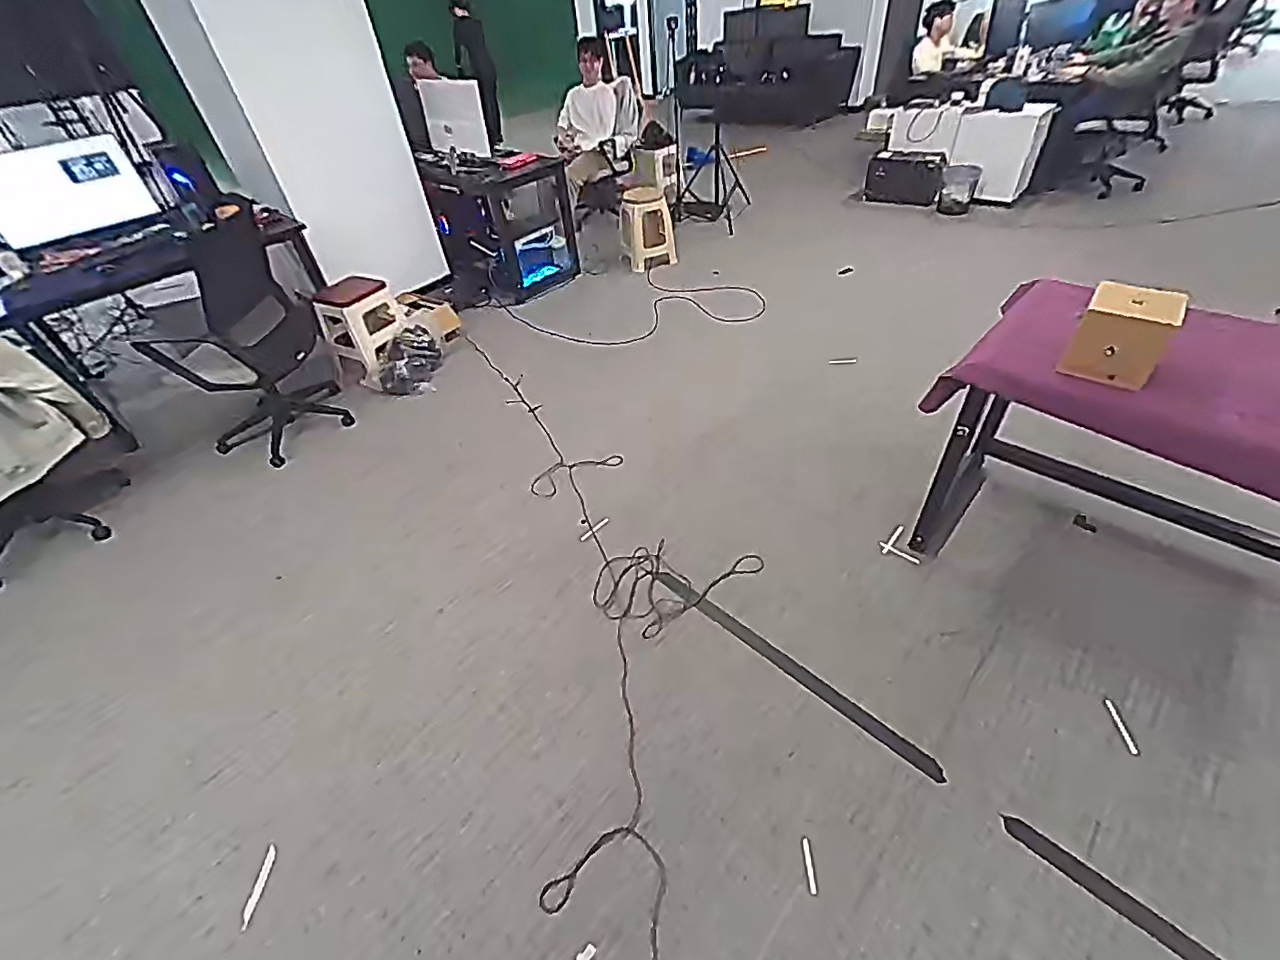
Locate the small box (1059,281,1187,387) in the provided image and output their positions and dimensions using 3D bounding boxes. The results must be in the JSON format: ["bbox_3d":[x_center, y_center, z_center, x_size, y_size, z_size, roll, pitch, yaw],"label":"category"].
[{"bbox_3d":[1.122,-0.341,1.267,0.168,0.176,0.179,27,51,30],"label":"small box"}]
